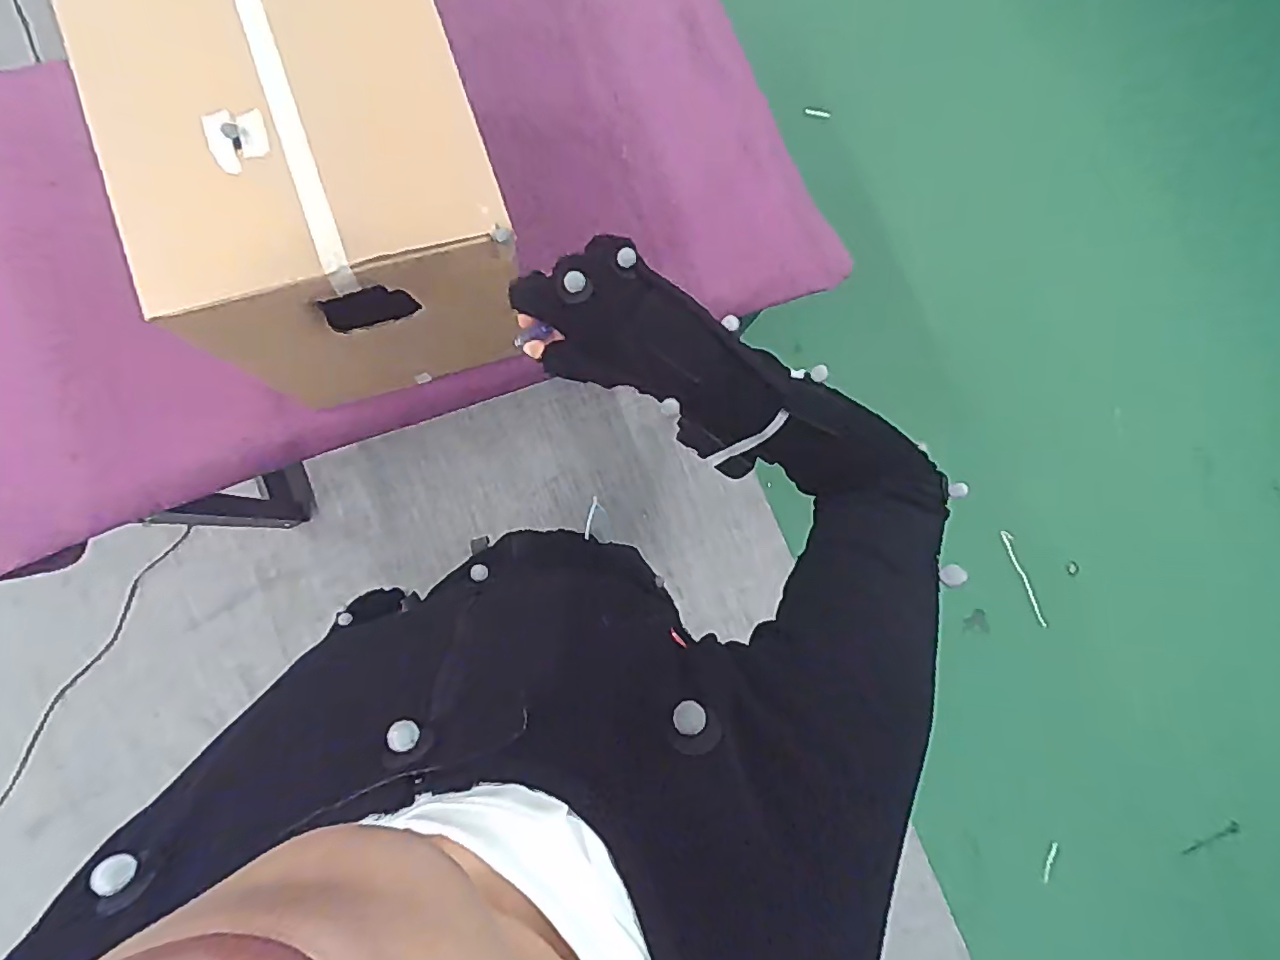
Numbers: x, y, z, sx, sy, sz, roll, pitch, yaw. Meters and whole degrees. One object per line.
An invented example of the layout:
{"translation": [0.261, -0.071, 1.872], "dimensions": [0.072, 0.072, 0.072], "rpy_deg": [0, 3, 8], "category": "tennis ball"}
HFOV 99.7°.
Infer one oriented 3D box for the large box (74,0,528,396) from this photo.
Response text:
{"translation": [-0.345, -0.361, 0.642], "dimensions": [0.320, 0.320, 0.408], "rpy_deg": [-18, 87, -10], "category": "large box"}
